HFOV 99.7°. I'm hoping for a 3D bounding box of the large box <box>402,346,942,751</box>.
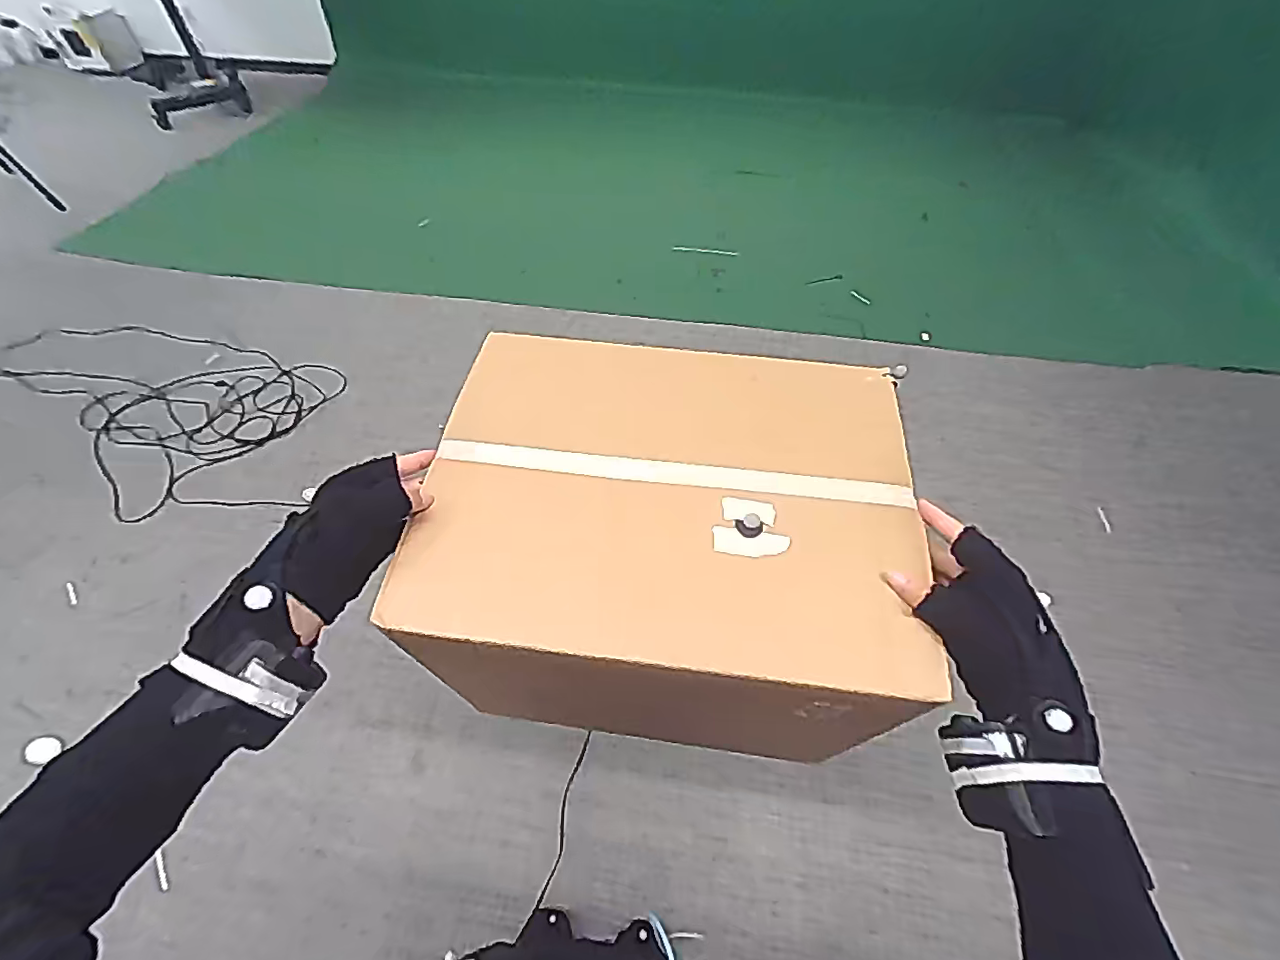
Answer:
[{"bbox_3d":[0.030,0.086,0.595,0.408,0.320,0.320,7,56,3],"label":"large box"}]
